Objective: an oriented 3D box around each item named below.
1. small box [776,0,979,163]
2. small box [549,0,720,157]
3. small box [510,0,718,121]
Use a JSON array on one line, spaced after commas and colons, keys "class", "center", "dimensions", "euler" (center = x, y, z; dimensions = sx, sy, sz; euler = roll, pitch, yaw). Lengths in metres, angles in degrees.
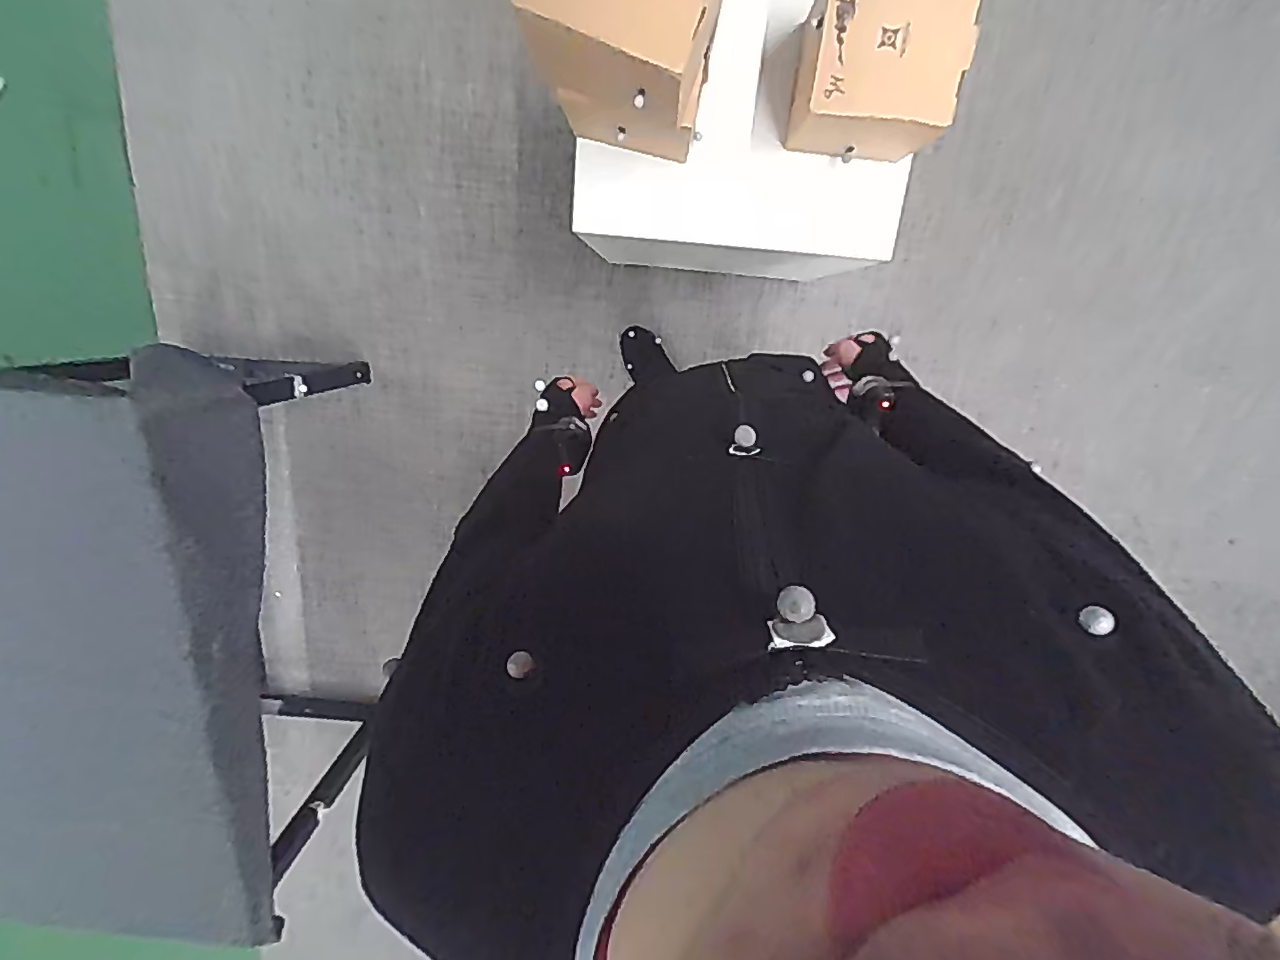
[{"class": "small box", "center": [0.295, -0.533, 0.705], "dimensions": [0.179, 0.176, 0.168], "euler": [7, 107, -1]}, {"class": "small box", "center": [-0.006, -0.547, 0.705], "dimensions": [0.179, 0.176, 0.168], "euler": [13, 106, -3]}, {"class": "small box", "center": [-0.012, -0.503, 0.550], "dimensions": [0.179, 0.176, 0.168], "euler": [20, 104, -5]}]
